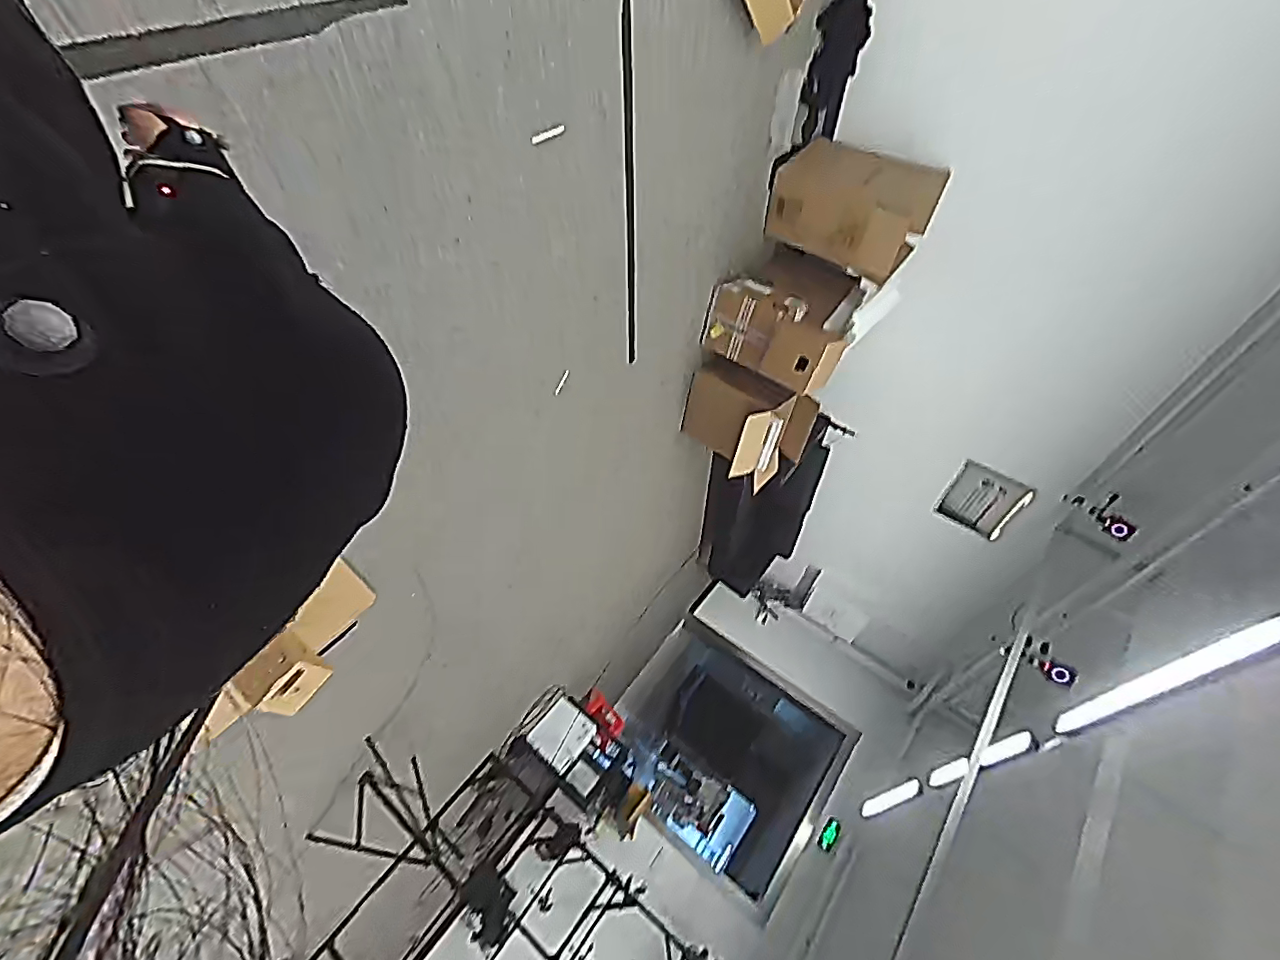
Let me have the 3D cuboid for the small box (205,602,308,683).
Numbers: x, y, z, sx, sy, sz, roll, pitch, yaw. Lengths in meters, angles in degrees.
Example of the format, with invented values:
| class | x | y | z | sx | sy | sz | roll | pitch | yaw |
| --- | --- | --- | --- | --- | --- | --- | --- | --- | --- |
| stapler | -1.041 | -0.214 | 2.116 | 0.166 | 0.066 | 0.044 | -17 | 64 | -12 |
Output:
| class | x | y | z | sx | sy | sz | roll | pitch | yaw |
| --- | --- | --- | --- | --- | --- | --- | --- | --- | --- |
| small box | -1.231 | 0.519 | 1.739 | 0.168 | 0.176 | 0.179 | -51 | 155 | -21 |
